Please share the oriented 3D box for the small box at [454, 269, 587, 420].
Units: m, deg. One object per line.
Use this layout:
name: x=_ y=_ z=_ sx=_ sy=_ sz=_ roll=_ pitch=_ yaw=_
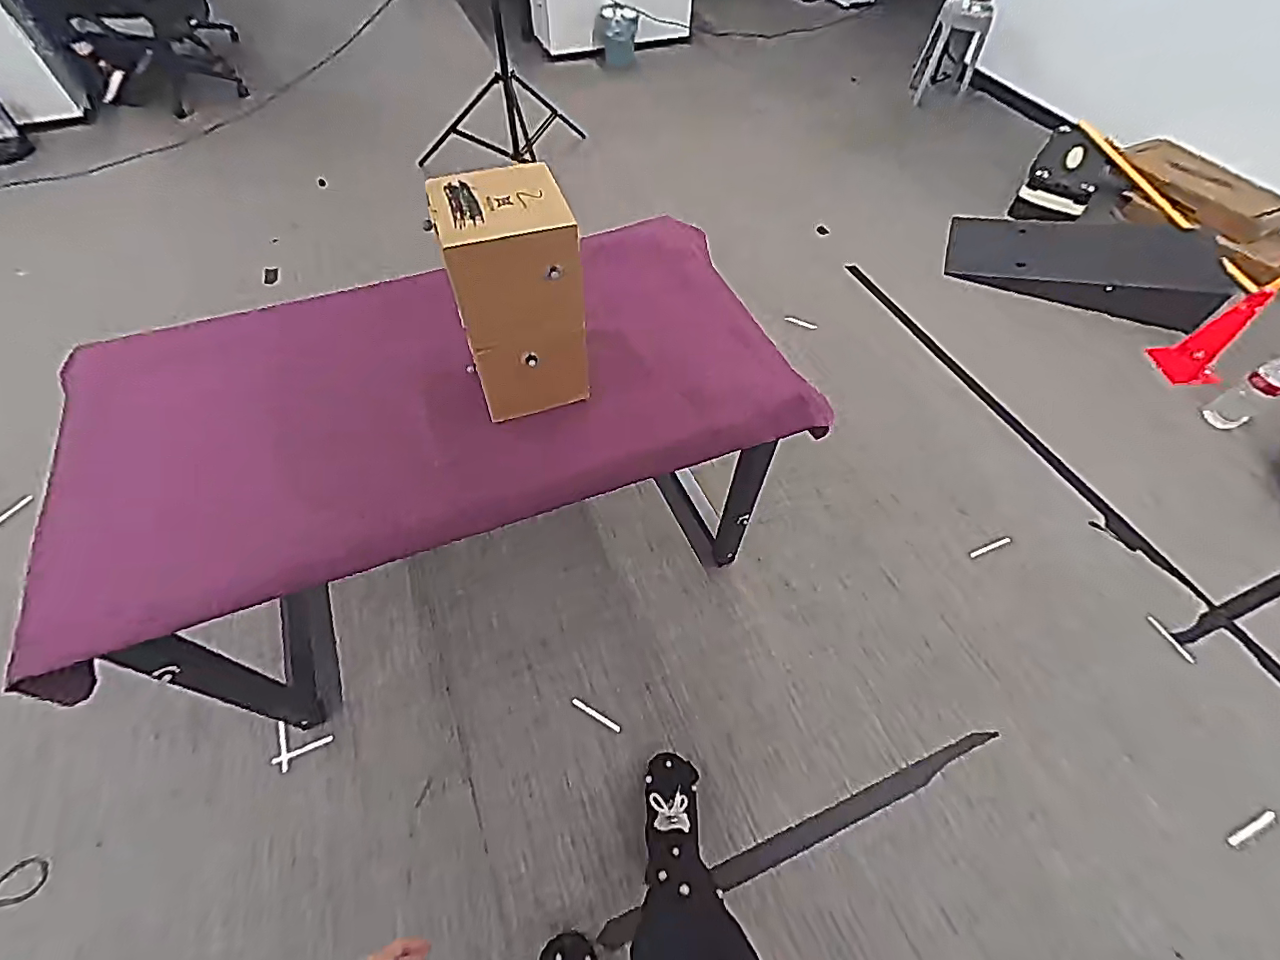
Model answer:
small box: x=-0.197 y=-0.226 z=0.921 sx=0.179 sy=0.176 sz=0.168 roll=-17 pitch=59 yaw=-13
